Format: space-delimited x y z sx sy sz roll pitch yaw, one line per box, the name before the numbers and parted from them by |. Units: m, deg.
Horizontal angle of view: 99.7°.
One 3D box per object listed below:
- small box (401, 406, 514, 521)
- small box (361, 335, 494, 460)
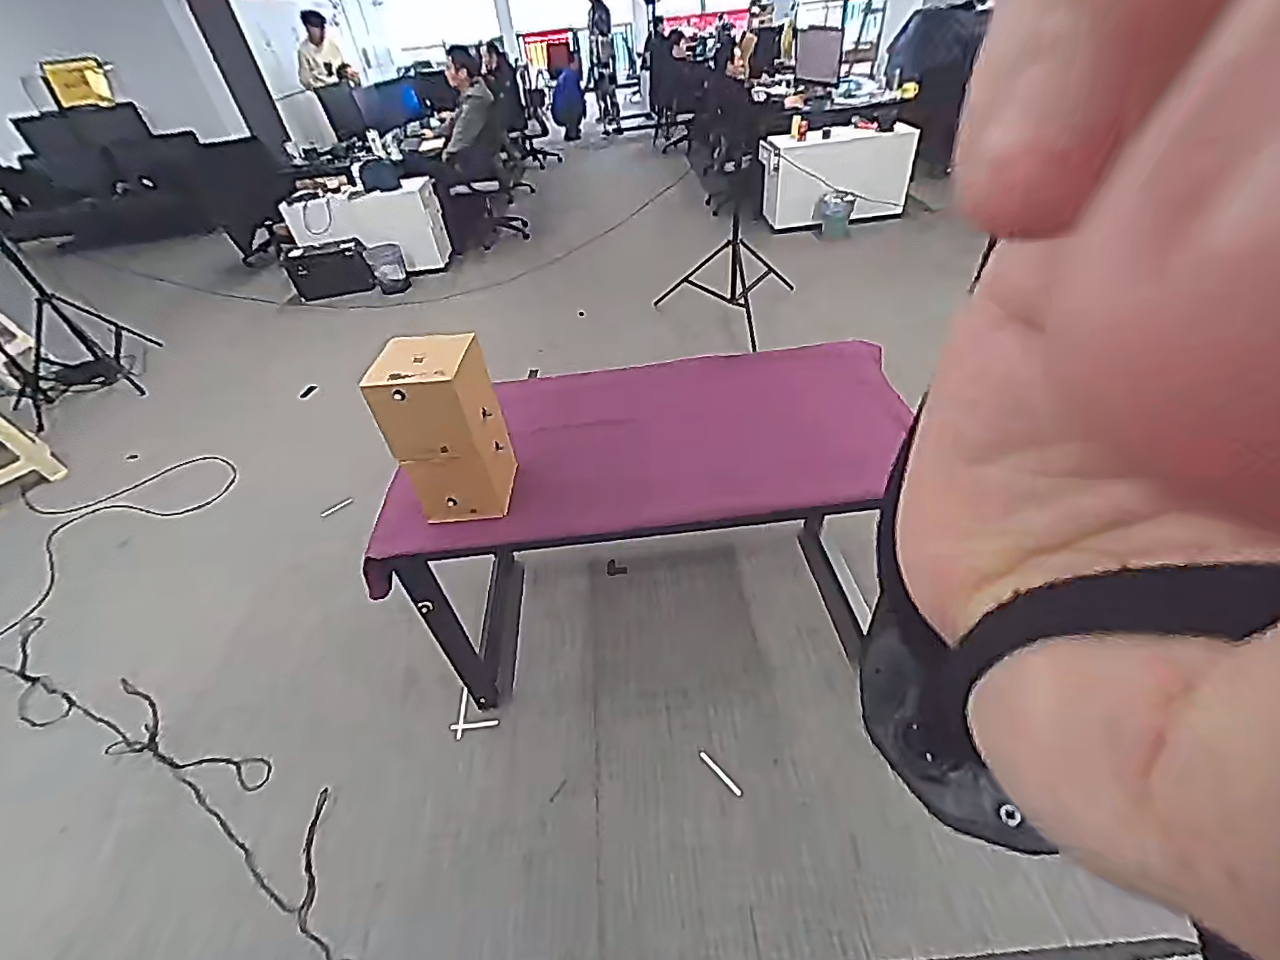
small box | -0.371 -0.035 1.137 0.168 0.176 0.179 -5 41 2
small box | -0.388 -0.157 1.029 0.168 0.176 0.179 -3 41 3
